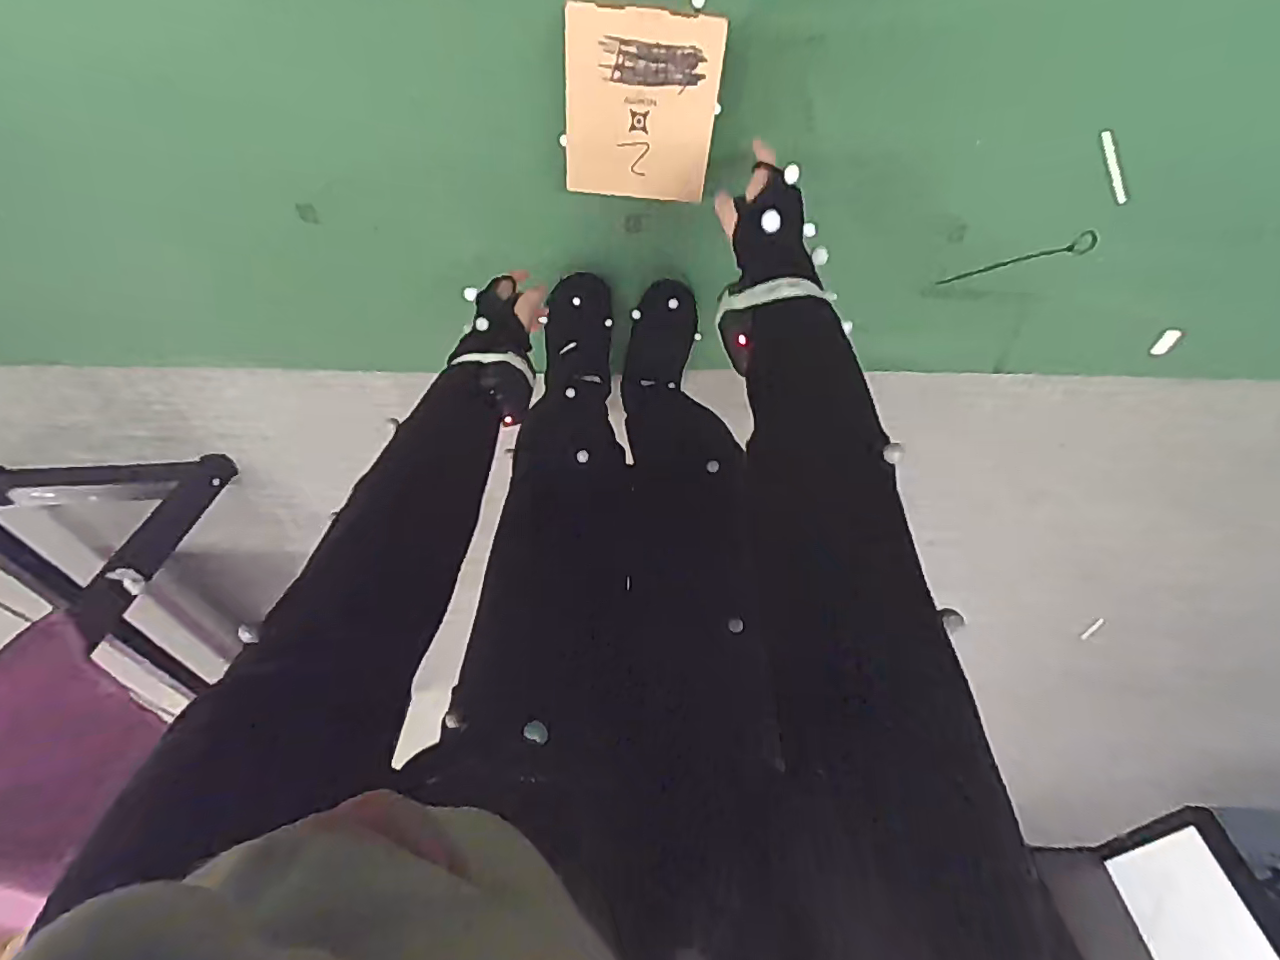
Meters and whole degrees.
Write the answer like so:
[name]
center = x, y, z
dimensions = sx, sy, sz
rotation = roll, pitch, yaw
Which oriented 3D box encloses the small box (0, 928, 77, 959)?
[small box]
center = -1.308, 0.999, 1.069
dimensions = 0.168, 0.176, 0.179
rotation = 0, 135, 1
